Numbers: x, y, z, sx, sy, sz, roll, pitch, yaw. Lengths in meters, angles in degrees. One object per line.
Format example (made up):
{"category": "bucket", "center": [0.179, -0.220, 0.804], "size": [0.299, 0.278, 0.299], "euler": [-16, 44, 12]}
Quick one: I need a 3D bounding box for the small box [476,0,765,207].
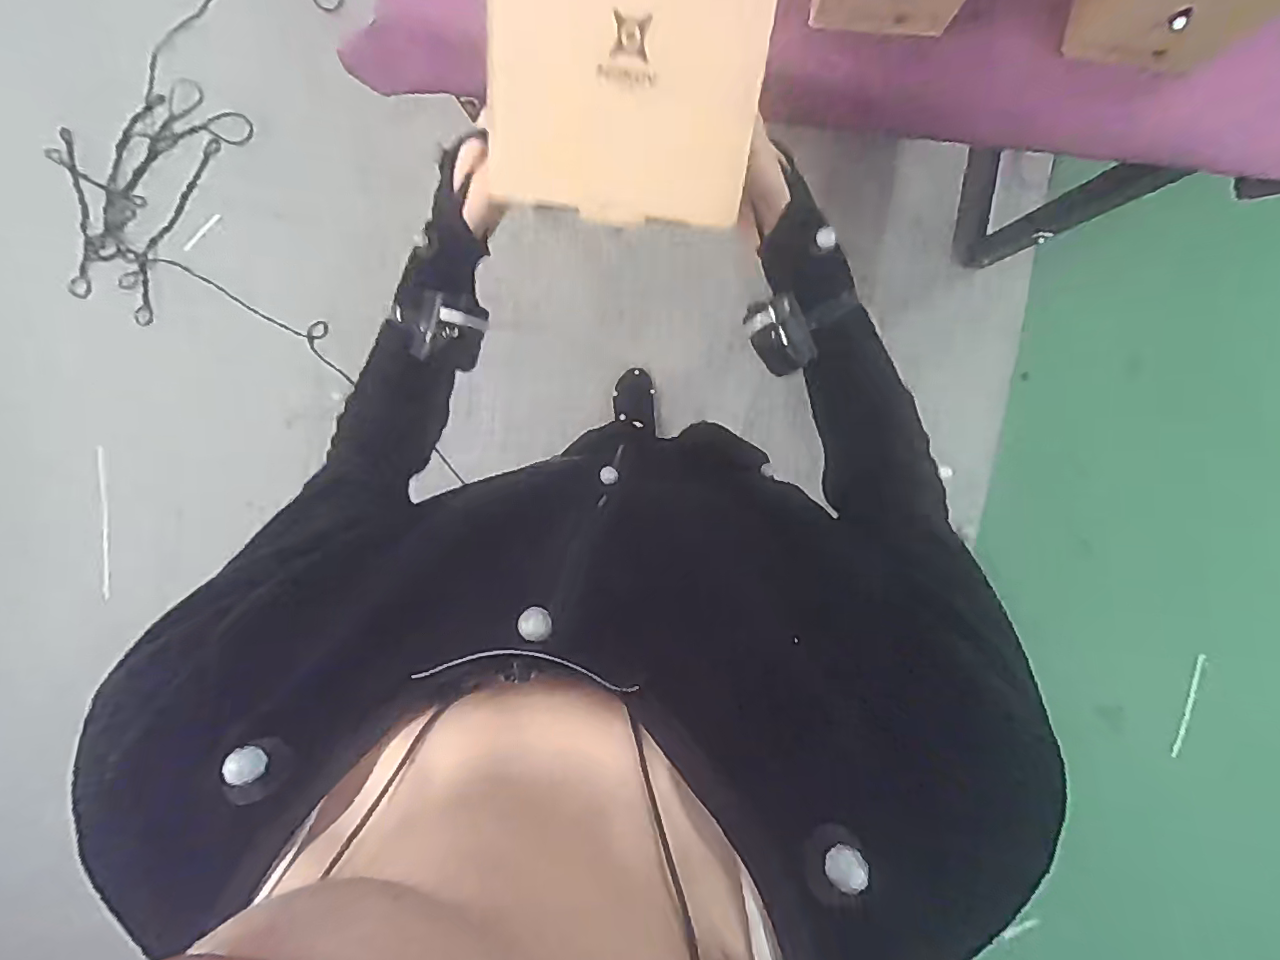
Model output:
{"category": "small box", "center": [-0.012, -0.304, 0.382], "size": [0.168, 0.176, 0.179], "euler": [7, 118, -5]}

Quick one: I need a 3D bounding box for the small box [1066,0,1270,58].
{"category": "small box", "center": [0.608, -0.601, 0.578], "size": [0.168, 0.176, 0.179], "euler": [9, 97, 1]}

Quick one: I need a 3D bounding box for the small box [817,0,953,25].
{"category": "small box", "center": [0.296, -0.645, 0.587], "size": [0.168, 0.176, 0.179], "euler": [6, 96, 2]}
